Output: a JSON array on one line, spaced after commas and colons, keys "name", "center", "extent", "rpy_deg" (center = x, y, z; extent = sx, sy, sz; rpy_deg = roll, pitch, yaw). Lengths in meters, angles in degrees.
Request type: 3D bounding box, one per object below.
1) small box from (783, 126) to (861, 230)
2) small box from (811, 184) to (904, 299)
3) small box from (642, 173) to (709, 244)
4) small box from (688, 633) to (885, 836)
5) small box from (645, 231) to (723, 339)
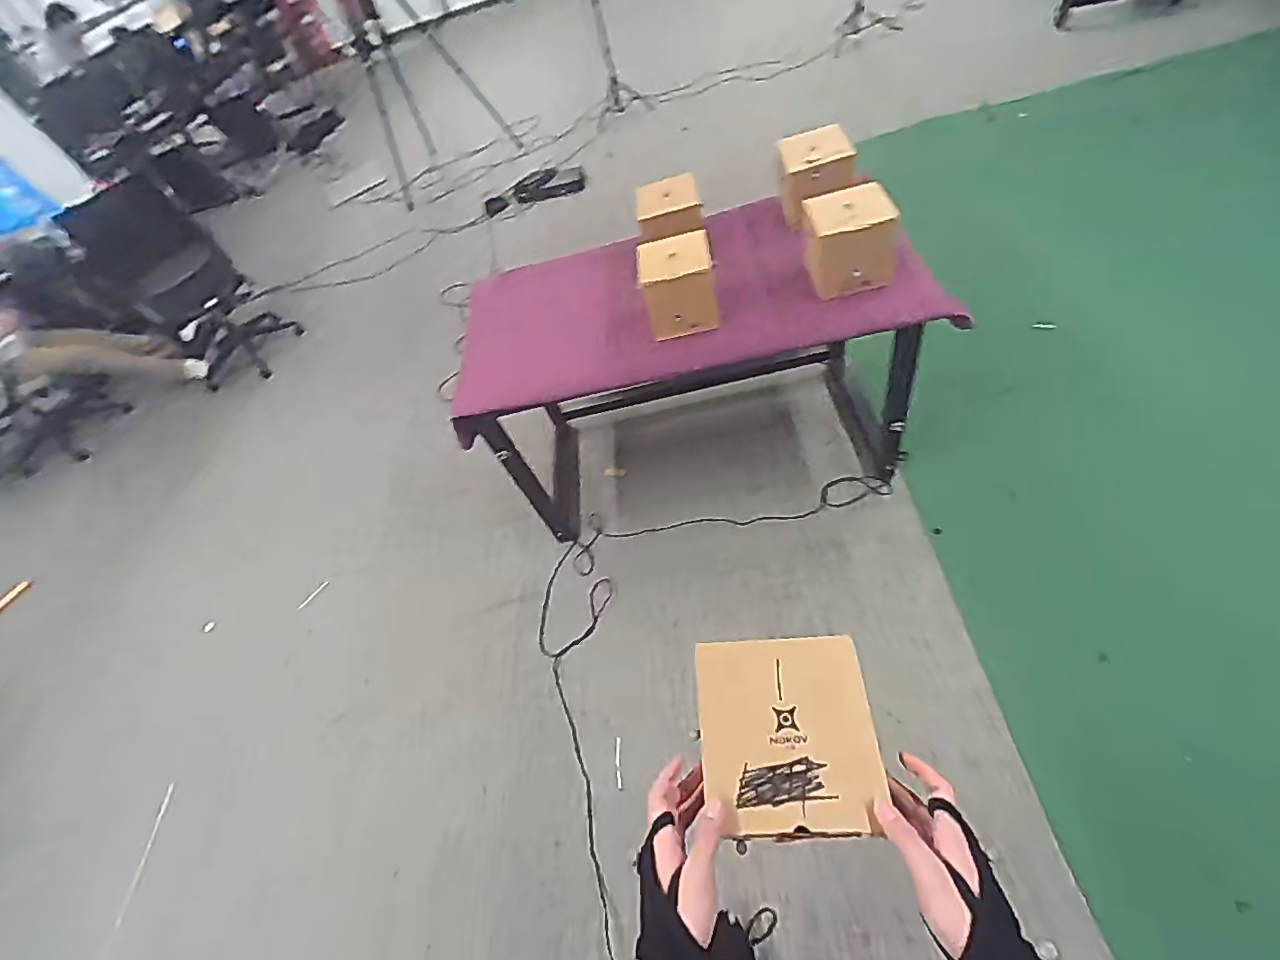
[{"name": "small box", "center": [0.488, -0.814, 1.466], "extent": [0.168, 0.176, 0.179], "rpy_deg": [-12, 54, 11]}, {"name": "small box", "center": [0.501, -0.557, 1.273], "extent": [0.168, 0.176, 0.179], "rpy_deg": [-10, 51, 12]}, {"name": "small box", "center": [0.105, -0.722, 1.521], "extent": [0.168, 0.176, 0.179], "rpy_deg": [-10, 54, 10]}, {"name": "small box", "center": [0.144, 0.280, 0.587], "extent": [0.168, 0.176, 0.179], "rpy_deg": [-5, 56, 6]}, {"name": "small box", "center": [0.110, -0.480, 1.341], "extent": [0.168, 0.176, 0.179], "rpy_deg": [-9, 52, 10]}]
